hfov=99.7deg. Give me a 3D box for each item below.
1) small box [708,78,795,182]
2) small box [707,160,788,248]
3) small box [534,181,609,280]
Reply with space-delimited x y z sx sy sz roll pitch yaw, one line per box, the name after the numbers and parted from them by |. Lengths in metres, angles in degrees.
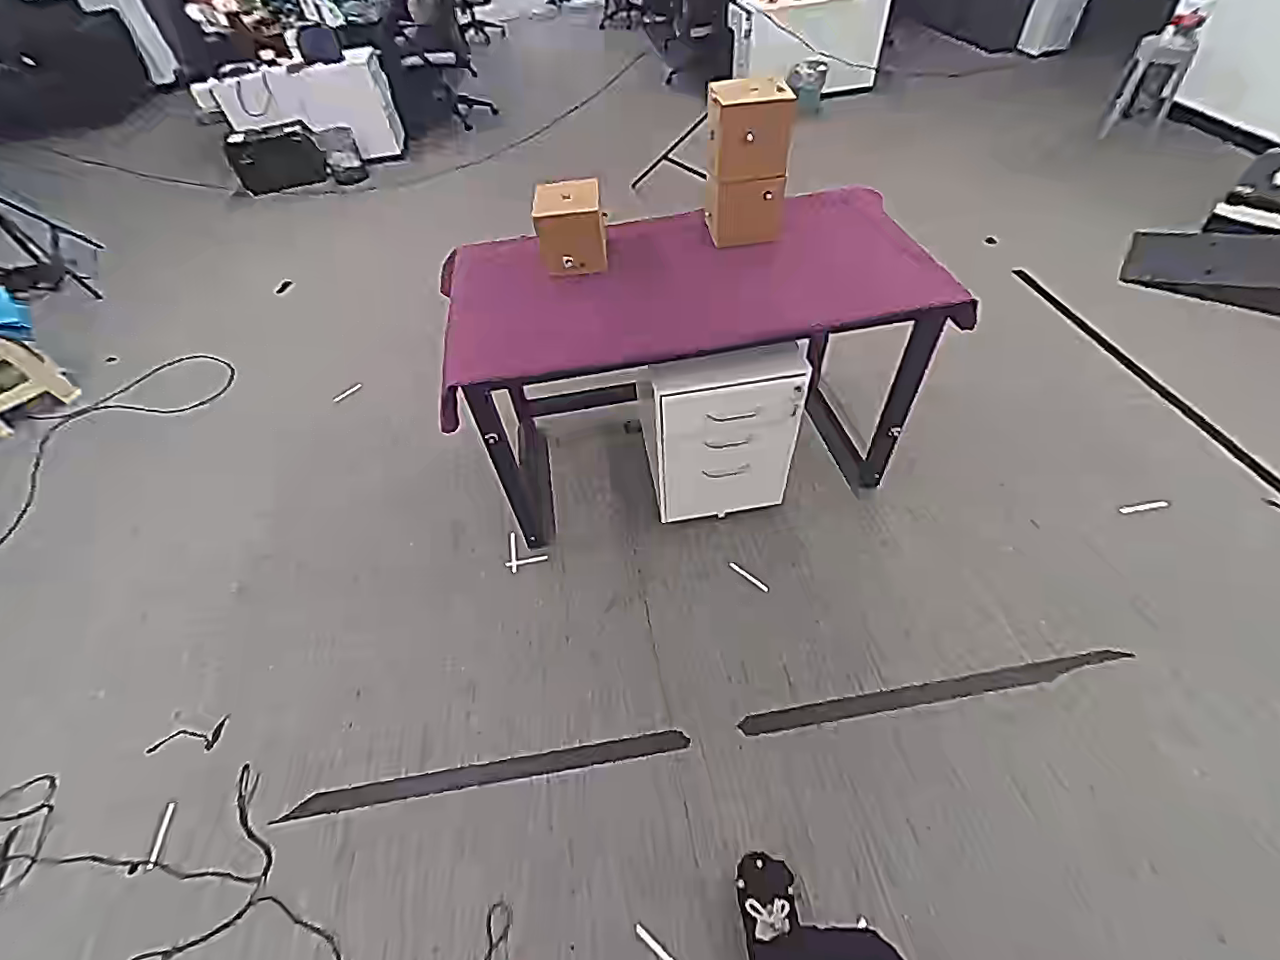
0.266 -0.851 1.324 0.179 0.176 0.168 -7 52 1 | small box
0.280 -0.747 1.450 0.179 0.176 0.168 -7 51 0 | small box
-0.174 -0.652 1.419 0.168 0.176 0.179 -6 53 2 | small box
